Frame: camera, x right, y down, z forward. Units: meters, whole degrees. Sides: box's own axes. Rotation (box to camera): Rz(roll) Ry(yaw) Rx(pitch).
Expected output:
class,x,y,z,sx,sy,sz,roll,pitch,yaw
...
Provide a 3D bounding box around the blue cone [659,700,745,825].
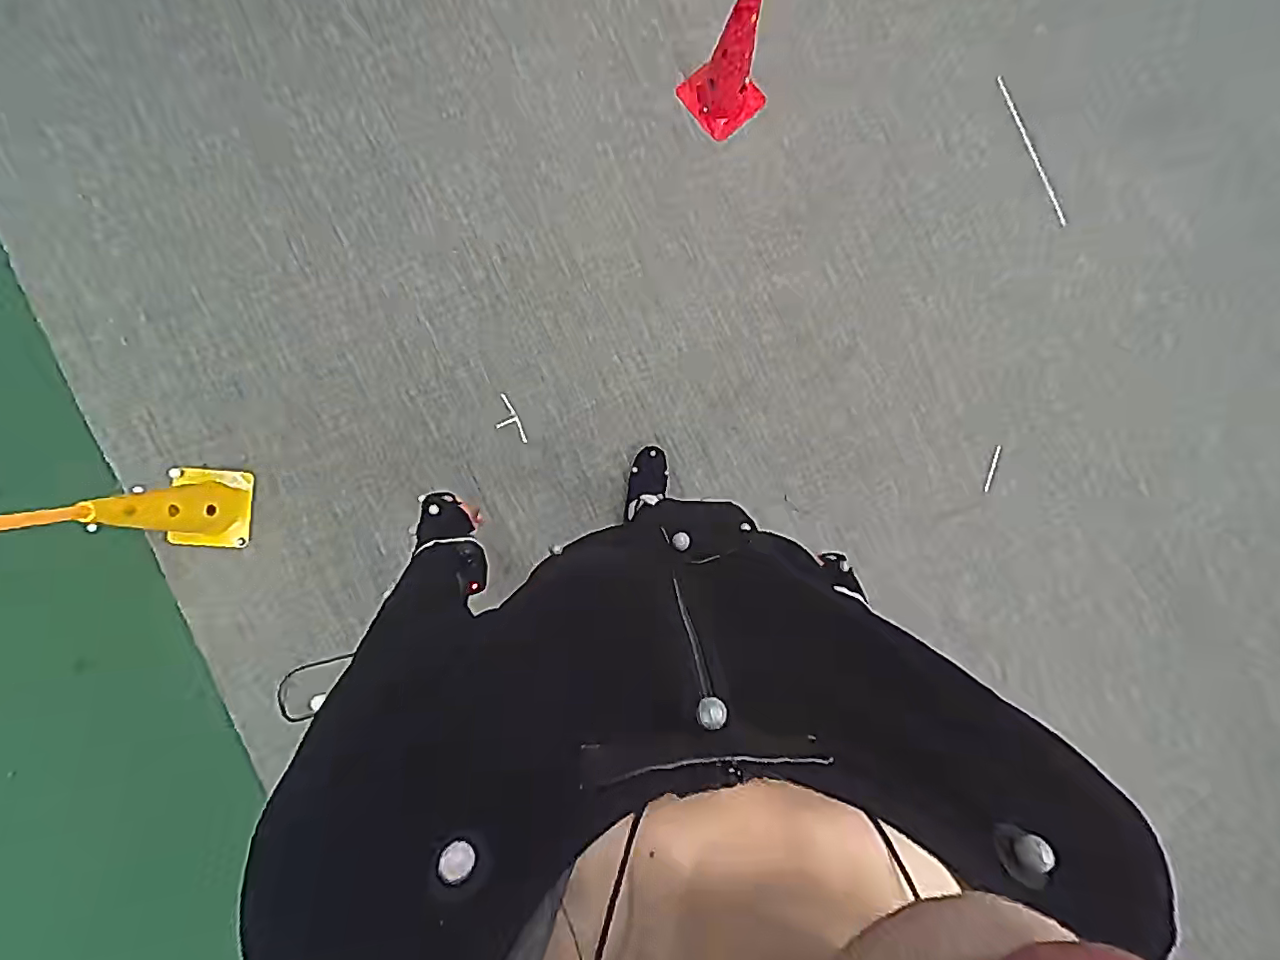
class,x,y,z,sx,sy,sz,roll,pitch,yaw
blue cone,0.183,0.705,1.322,0.193,0.380,0.192,20,86,-6
